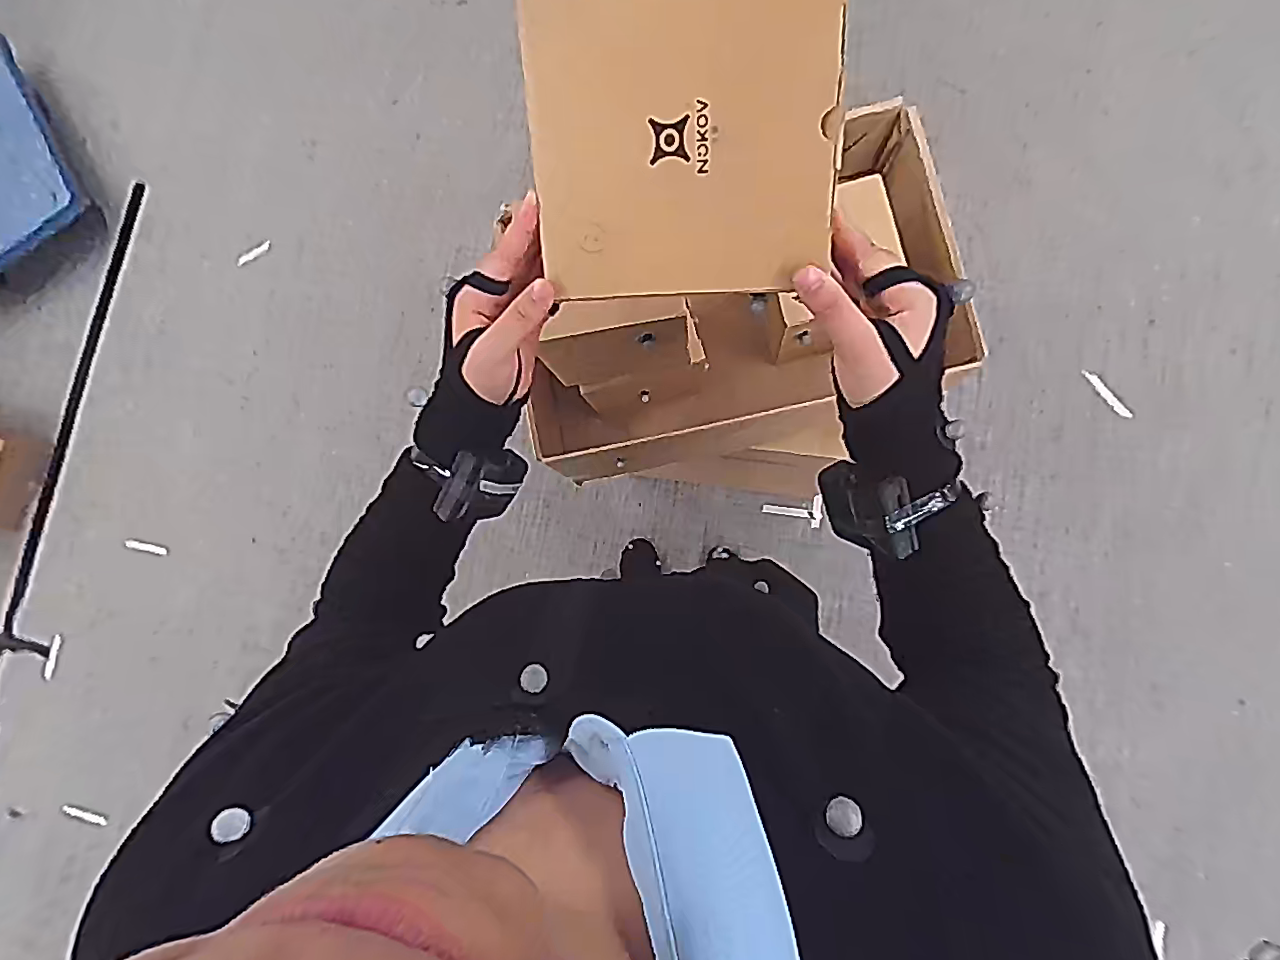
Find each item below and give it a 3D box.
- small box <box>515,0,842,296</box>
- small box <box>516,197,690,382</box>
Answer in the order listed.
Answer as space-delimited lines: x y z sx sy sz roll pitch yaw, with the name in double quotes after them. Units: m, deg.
0.034 -0.218 0.378 0.179 0.176 0.168 0 109 10 "small box"
-0.034 -0.229 0.656 0.179 0.176 0.168 -8 83 6 "small box"
